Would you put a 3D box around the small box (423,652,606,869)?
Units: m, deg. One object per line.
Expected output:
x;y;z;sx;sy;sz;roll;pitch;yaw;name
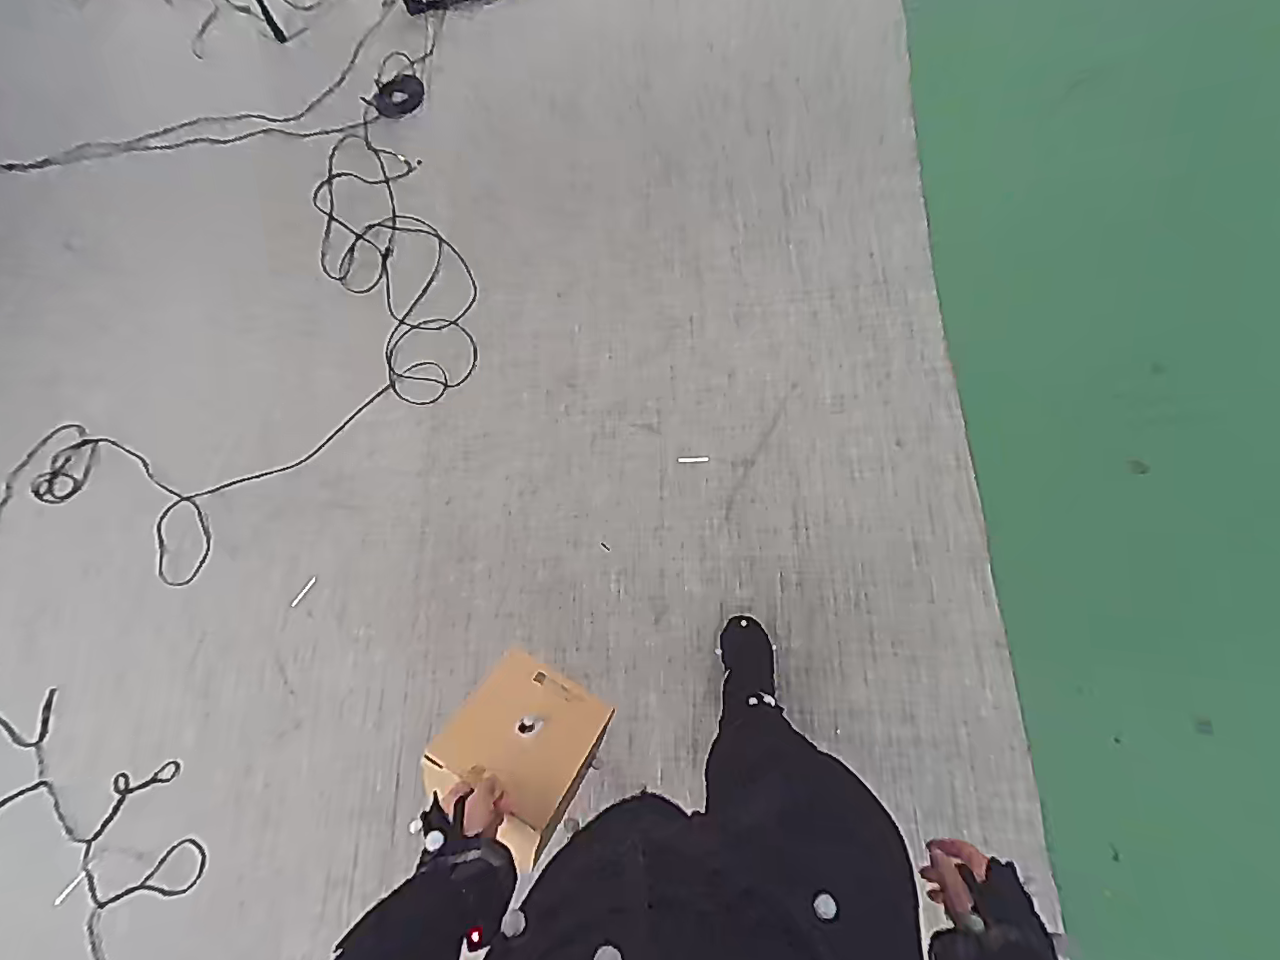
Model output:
-0.160;0.362;0.715;0.168;0.179;0.176;26;42;11;small box
